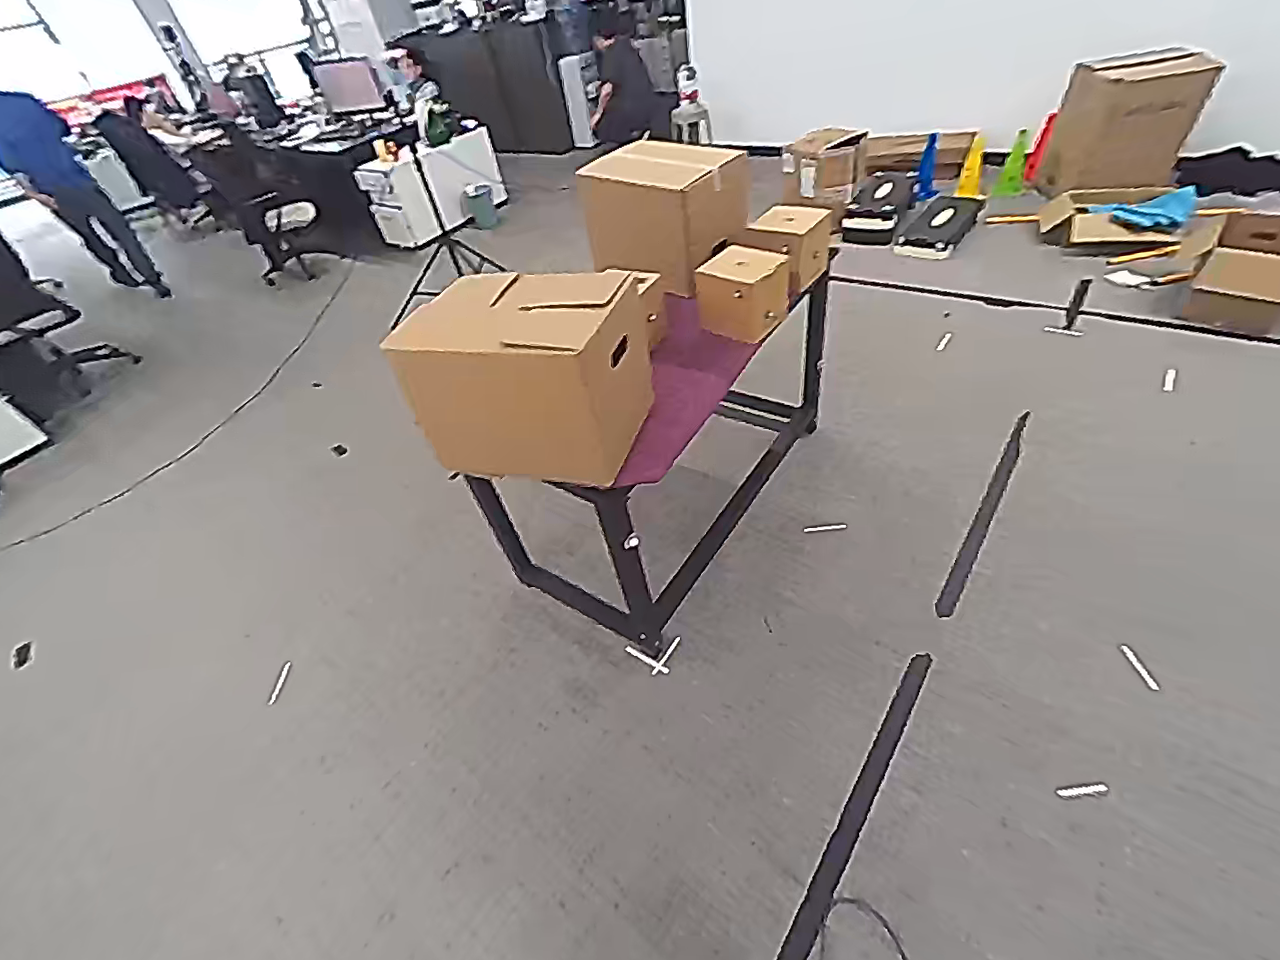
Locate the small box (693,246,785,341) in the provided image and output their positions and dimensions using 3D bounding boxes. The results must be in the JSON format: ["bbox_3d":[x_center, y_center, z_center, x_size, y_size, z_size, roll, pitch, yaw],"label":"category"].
[{"bbox_3d":[0.259,-0.486,1.414,0.179,0.176,0.168,27,57,32],"label":"small box"}]

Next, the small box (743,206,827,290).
[{"bbox_3d":[0.415,-0.665,1.554,0.179,0.176,0.168,24,55,33],"label":"small box"}]
